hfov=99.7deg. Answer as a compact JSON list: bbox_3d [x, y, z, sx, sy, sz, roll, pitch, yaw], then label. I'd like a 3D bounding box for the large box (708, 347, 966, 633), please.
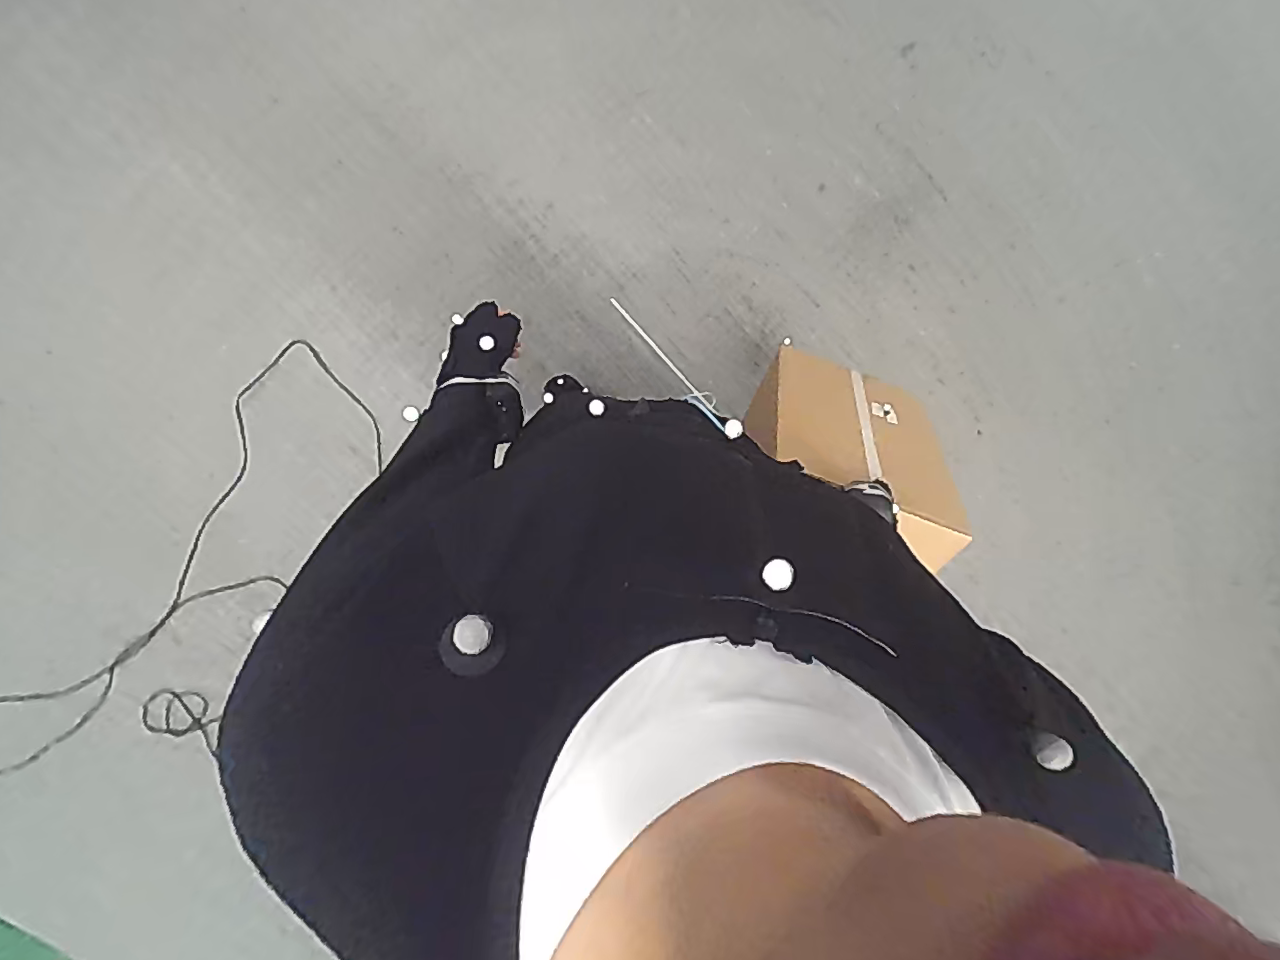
[{"bbox_3d":[0.339,0.012,1.039,0.320,0.408,0.320,20,131,-2],"label":"large box"}]
